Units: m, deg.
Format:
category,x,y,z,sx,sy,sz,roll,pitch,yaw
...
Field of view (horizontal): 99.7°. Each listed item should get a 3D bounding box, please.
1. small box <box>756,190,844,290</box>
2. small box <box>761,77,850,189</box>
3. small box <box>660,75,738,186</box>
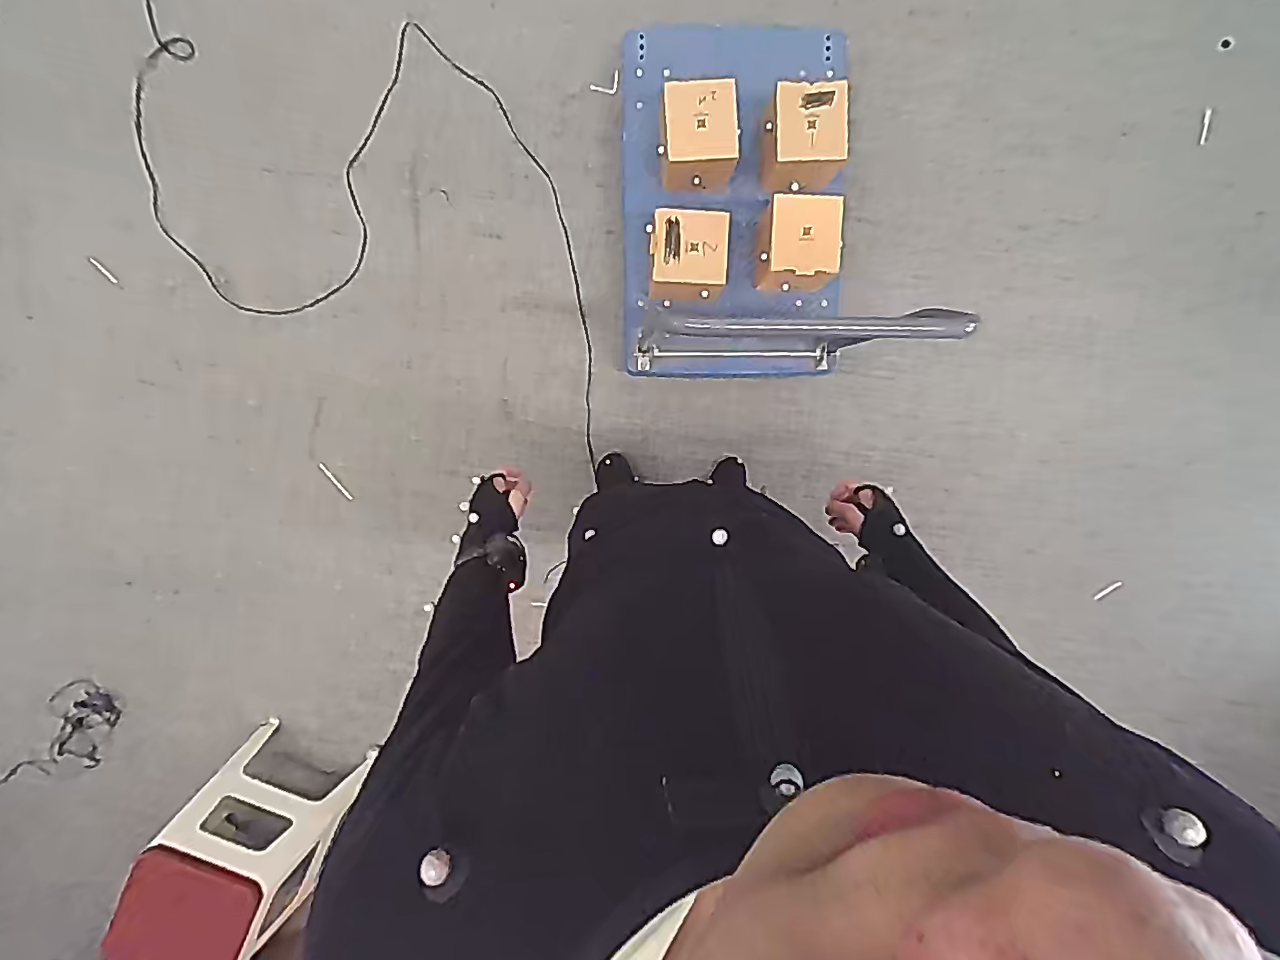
category,x,y,z,sx,sy,sz,roll,pitch,yaw
small box,0.387,-0.586,1.335,0.168,0.176,0.179,2,94,-1
small box,0.394,-0.833,1.311,0.168,0.176,0.179,-2,96,0
small box,0.139,-0.832,1.305,0.168,0.176,0.179,-4,95,-2
